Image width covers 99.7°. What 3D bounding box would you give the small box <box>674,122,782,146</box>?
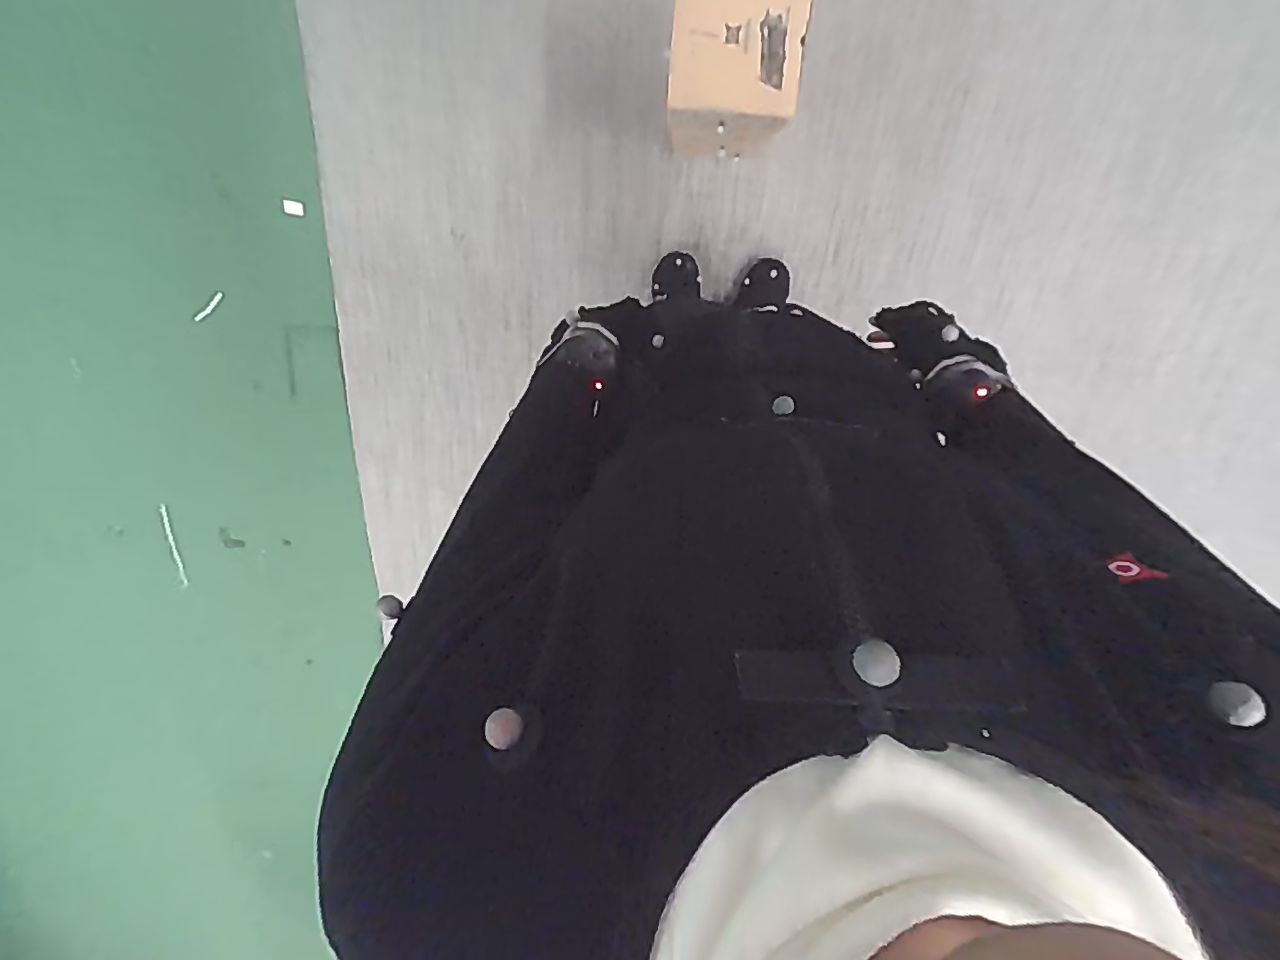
[{"bbox_3d":[0.153,-0.677,0.918,0.179,0.176,0.168,6,115,2],"label":"small box"}]

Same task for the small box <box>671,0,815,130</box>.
[{"bbox_3d":[0.136,-0.609,0.770,0.179,0.176,0.168,3,116,3],"label":"small box"}]

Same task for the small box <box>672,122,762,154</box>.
[{"bbox_3d":[0.162,-0.751,1.064,0.179,0.176,0.168,7,115,4],"label":"small box"}]
